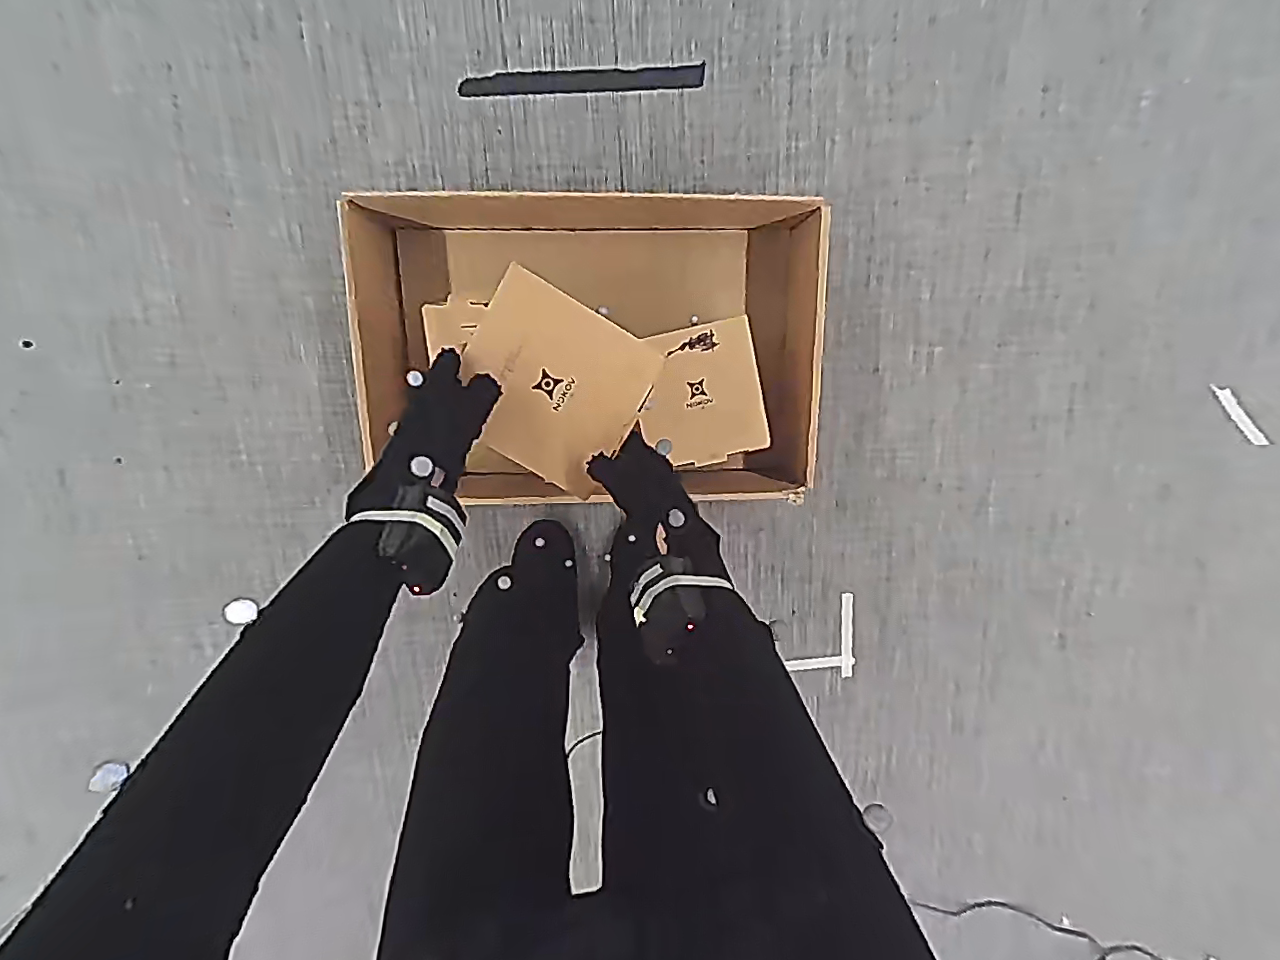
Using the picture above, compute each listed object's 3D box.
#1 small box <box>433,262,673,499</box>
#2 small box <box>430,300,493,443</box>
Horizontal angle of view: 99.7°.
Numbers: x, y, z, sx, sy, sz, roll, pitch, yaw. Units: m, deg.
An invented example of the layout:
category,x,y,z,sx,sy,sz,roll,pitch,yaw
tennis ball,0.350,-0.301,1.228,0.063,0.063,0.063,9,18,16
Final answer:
category,x,y,z,sx,sy,sz,roll,pitch,yaw
small box,-0.088,-0.103,0.593,0.179,0.176,0.168,30,93,-7
small box,-0.179,-0.152,0.761,0.168,0.176,0.179,-4,102,-3
